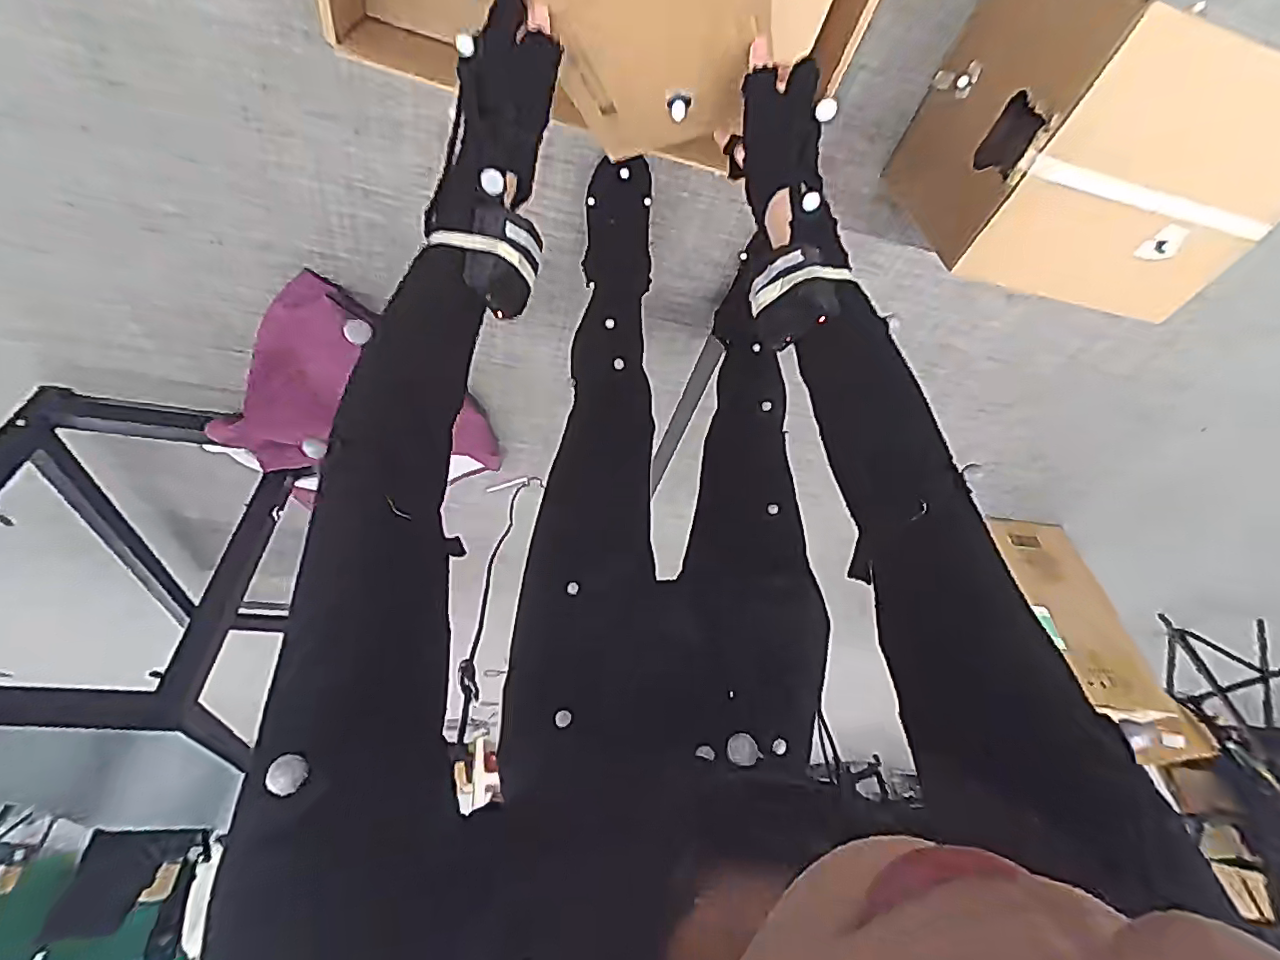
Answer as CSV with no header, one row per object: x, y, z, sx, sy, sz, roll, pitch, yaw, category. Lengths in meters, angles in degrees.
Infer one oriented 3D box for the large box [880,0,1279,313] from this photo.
0.657,-0.495,0.803,0.408,0.320,0.320,6,140,-13,large box
